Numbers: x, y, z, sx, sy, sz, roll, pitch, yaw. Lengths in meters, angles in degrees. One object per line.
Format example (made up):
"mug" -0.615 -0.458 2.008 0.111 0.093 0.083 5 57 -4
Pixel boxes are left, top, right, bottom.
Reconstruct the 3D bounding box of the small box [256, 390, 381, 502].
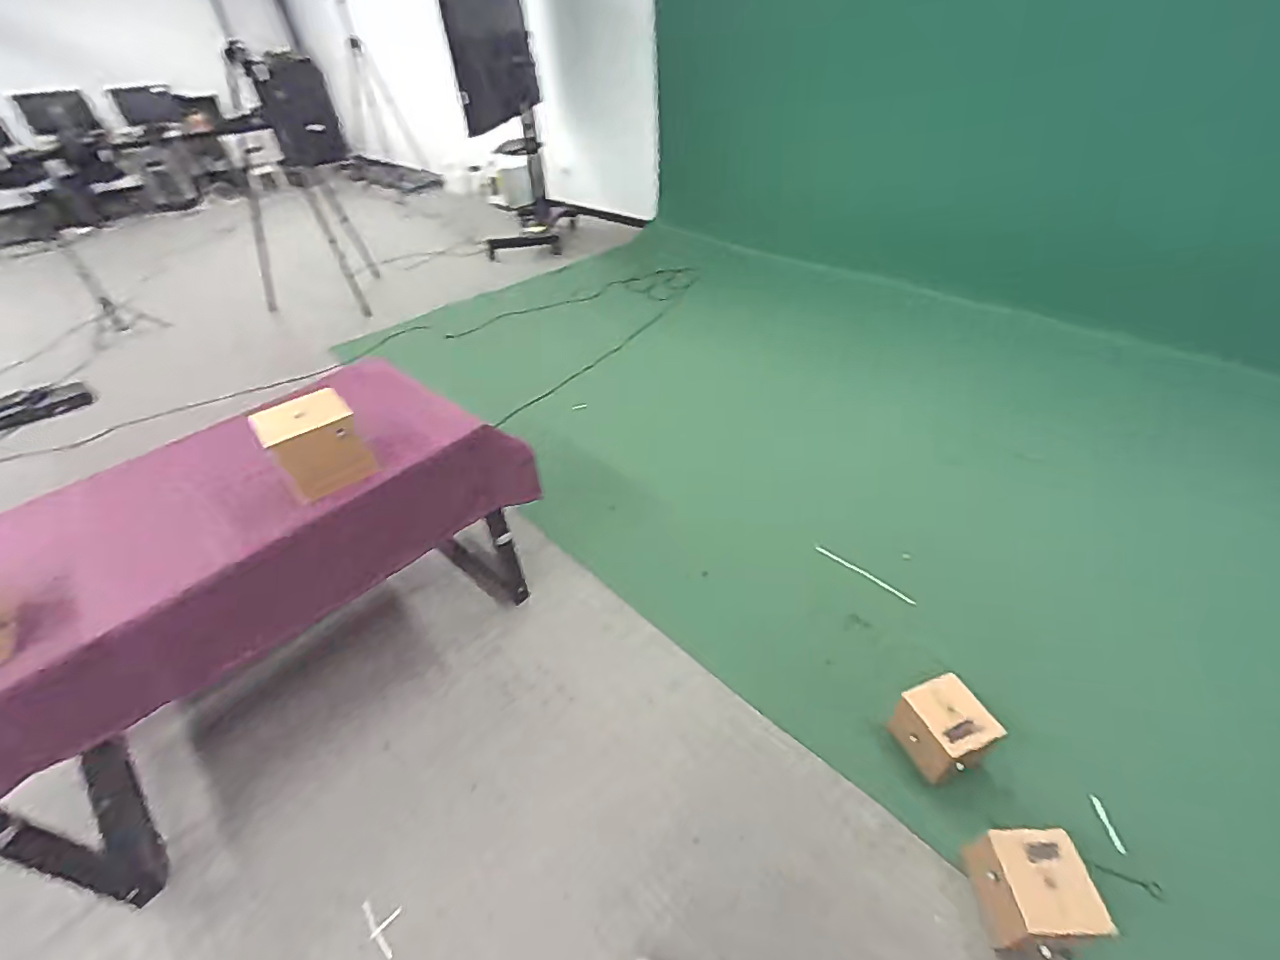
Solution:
"small box" -0.733 -0.077 1.244 0.179 0.176 0.168 -31 47 -28

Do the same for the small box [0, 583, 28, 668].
"small box" -1.196 0.251 0.897 0.179 0.176 0.168 -30 47 -28

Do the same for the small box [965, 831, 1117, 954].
"small box" 0.820 0.862 1.133 0.168 0.176 0.179 -1 41 2
